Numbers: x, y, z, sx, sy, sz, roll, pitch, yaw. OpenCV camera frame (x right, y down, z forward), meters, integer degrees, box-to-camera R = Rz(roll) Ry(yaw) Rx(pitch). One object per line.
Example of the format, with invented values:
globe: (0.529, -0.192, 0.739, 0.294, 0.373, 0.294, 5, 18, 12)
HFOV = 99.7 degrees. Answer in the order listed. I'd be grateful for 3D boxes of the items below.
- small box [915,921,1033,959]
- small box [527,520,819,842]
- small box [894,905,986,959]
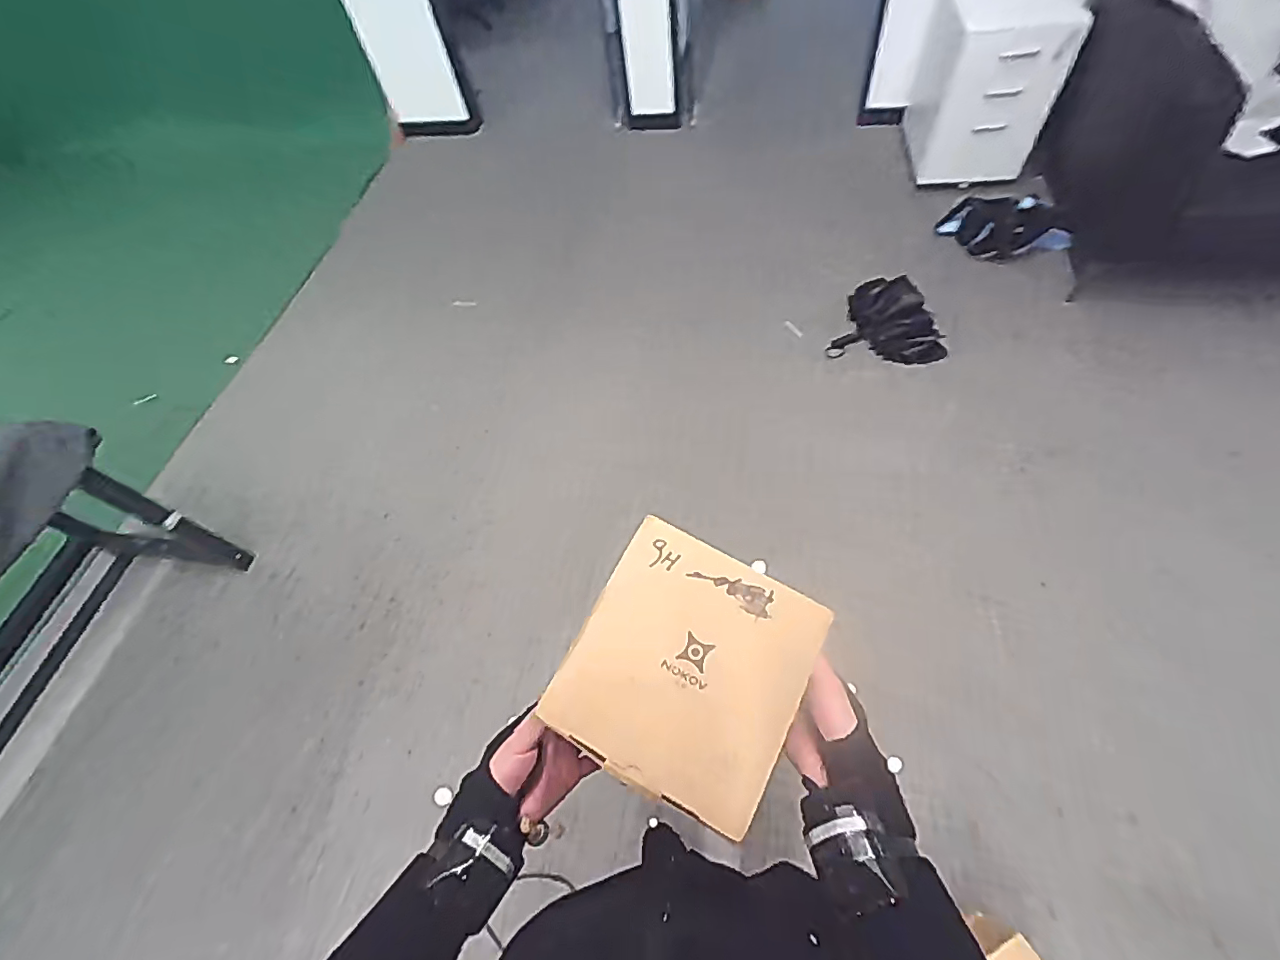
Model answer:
small box: (0.592, 0.883, 0.898, 0.168, 0.176, 0.179, -28, 58, -10)
small box: (0.029, 0.168, 0.478, 0.168, 0.176, 0.179, 27, 71, 9)
small box: (0.626, 0.962, 1.039, 0.168, 0.176, 0.179, -35, 61, -13)
